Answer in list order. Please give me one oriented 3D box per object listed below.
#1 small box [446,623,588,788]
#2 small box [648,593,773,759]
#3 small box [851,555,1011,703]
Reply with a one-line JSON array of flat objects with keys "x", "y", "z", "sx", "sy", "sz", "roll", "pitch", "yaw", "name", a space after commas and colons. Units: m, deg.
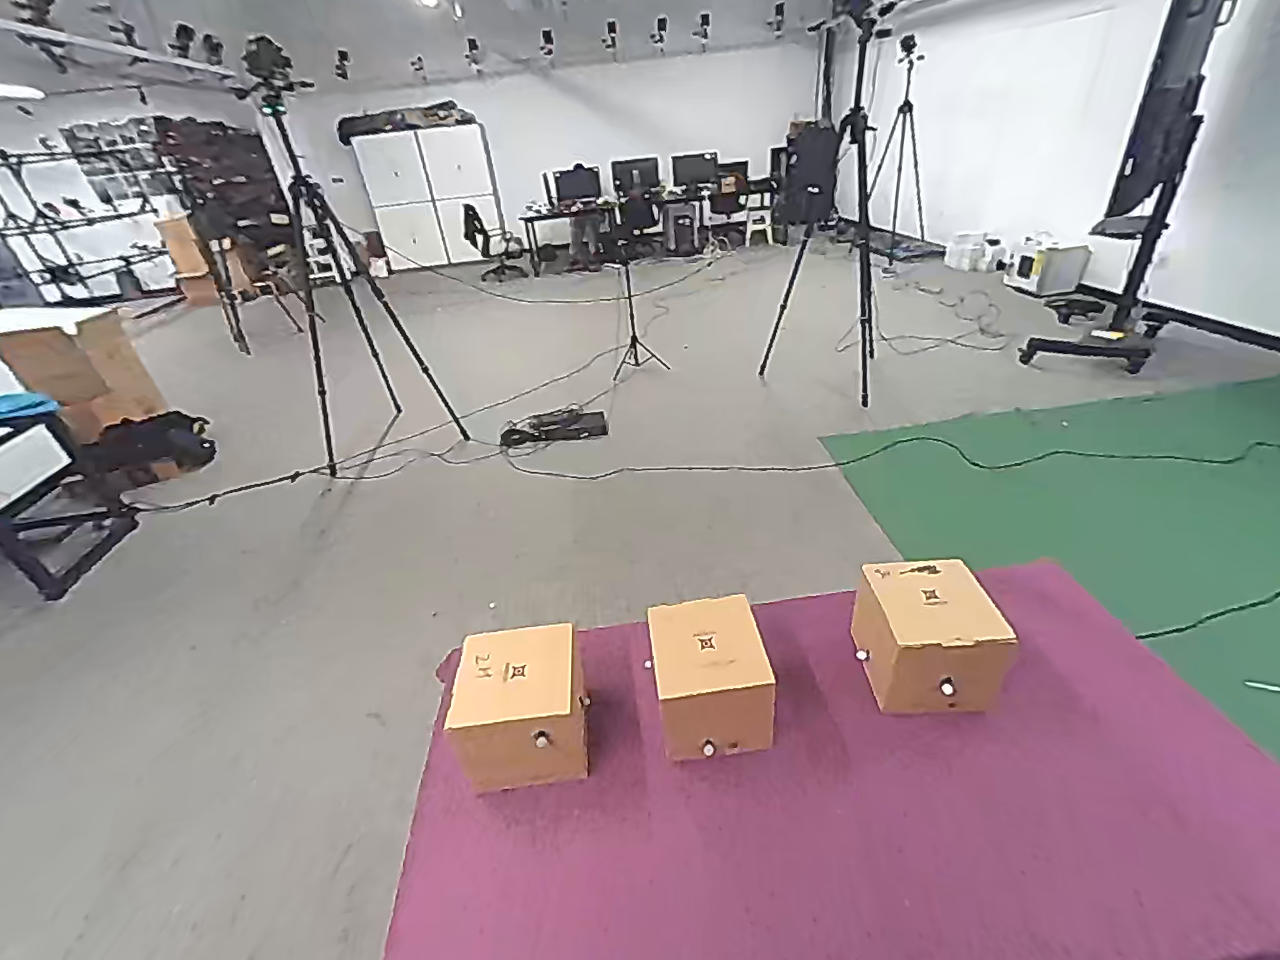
[{"x": -0.177, "y": 0.352, "z": 0.848, "sx": 0.179, "sy": 0.176, "sz": 0.168, "roll": -8, "pitch": 33, "yaw": -1, "name": "small box"}, {"x": 0.107, "y": 0.309, "z": 0.862, "sx": 0.168, "sy": 0.176, "sz": 0.179, "roll": -8, "pitch": 33, "yaw": 0, "name": "small box"}, {"x": 0.457, "y": 0.246, "z": 0.881, "sx": 0.168, "sy": 0.176, "sz": 0.179, "roll": -4, "pitch": 34, "yaw": 4, "name": "small box"}]
